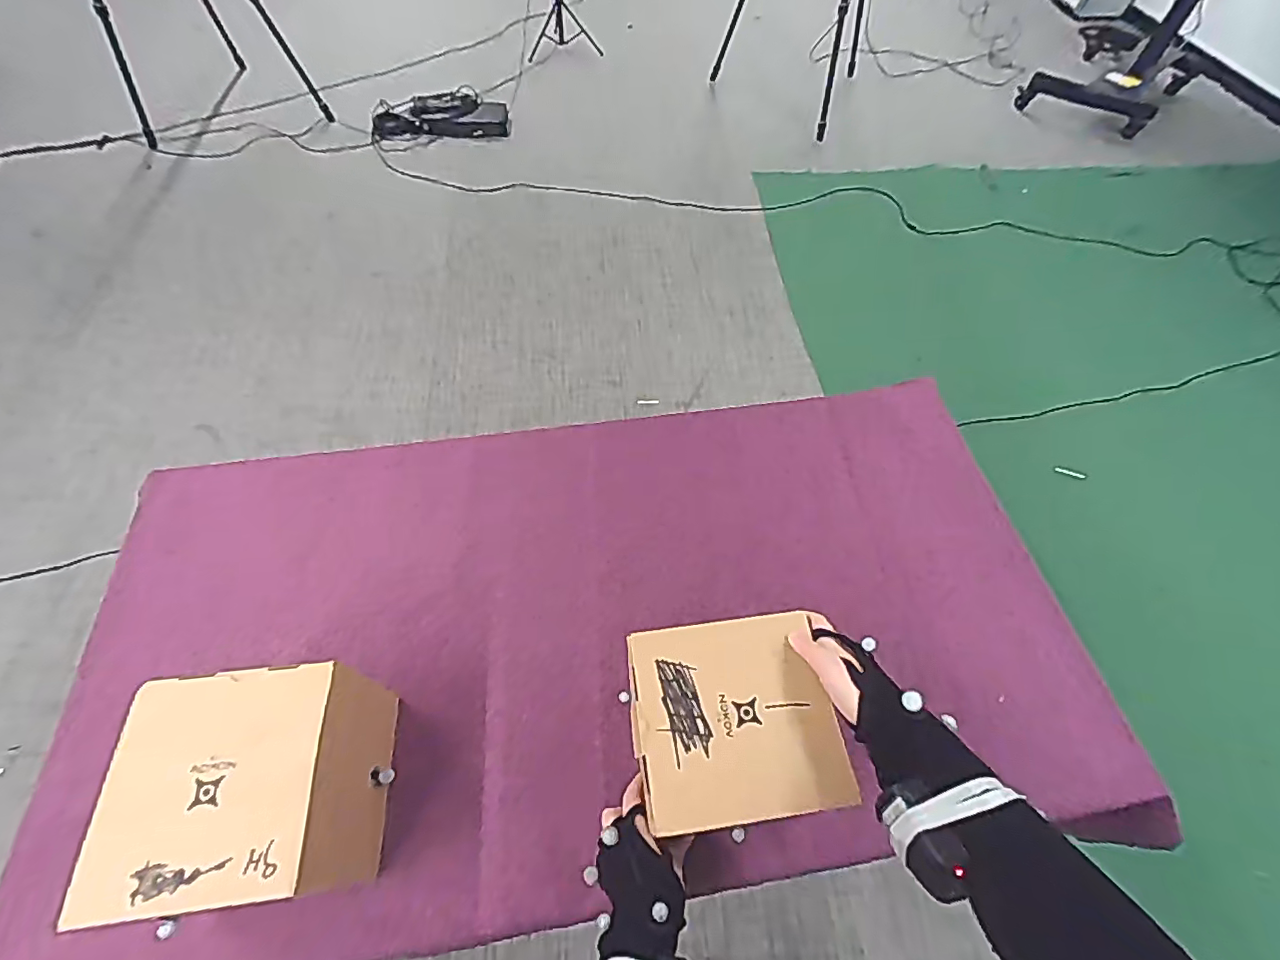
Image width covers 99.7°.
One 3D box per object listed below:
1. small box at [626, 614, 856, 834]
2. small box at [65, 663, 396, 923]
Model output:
[{"bbox_3d":[0.083,0.249,0.545,0.179,0.176,0.168,-6,59,-5],"label":"small box"},{"bbox_3d":[-0.348,0.289,0.511,0.168,0.176,0.179,-5,57,-4],"label":"small box"}]
